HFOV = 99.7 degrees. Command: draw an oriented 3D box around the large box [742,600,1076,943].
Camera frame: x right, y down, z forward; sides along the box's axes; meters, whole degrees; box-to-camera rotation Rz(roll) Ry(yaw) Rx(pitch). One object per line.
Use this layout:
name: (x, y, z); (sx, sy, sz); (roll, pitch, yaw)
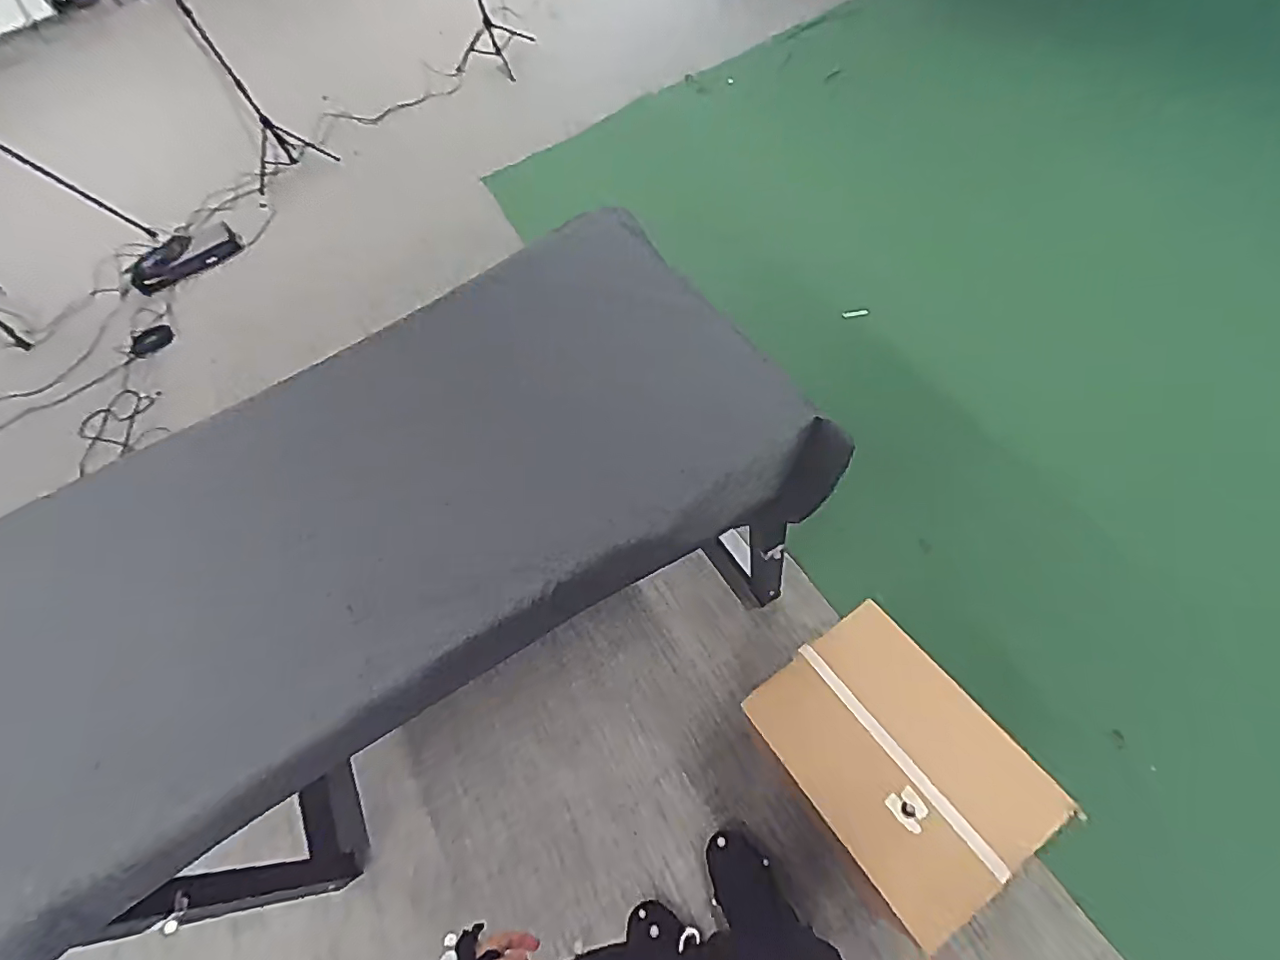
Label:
large box: (0.434, 0.503, 0.994); (0.320, 0.320, 0.408); (-35, 60, -10)
